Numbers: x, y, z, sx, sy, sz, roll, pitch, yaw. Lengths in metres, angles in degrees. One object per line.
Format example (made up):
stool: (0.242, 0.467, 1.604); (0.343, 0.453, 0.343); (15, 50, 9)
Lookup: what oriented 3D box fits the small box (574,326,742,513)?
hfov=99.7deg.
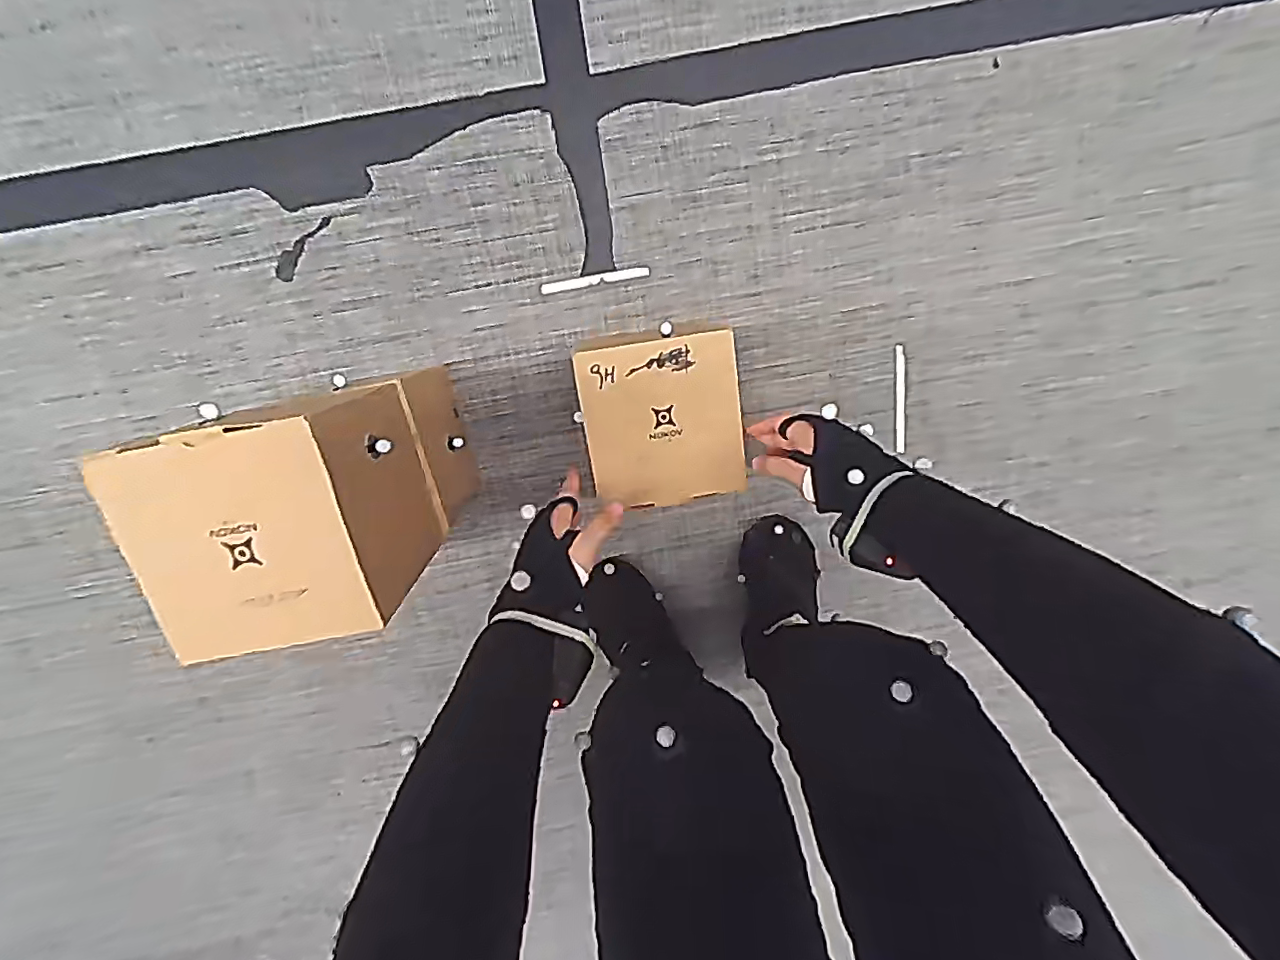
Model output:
small box: (0.018, -0.080, 0.647); (0.168, 0.176, 0.179); (-9, 109, -2)

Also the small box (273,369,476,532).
small box: (-0.305, -0.029, 0.636); (0.179, 0.176, 0.168); (-11, 108, 0)

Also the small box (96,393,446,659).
small box: (-0.296, 0.025, 0.484); (0.168, 0.176, 0.179); (-10, 109, 1)
